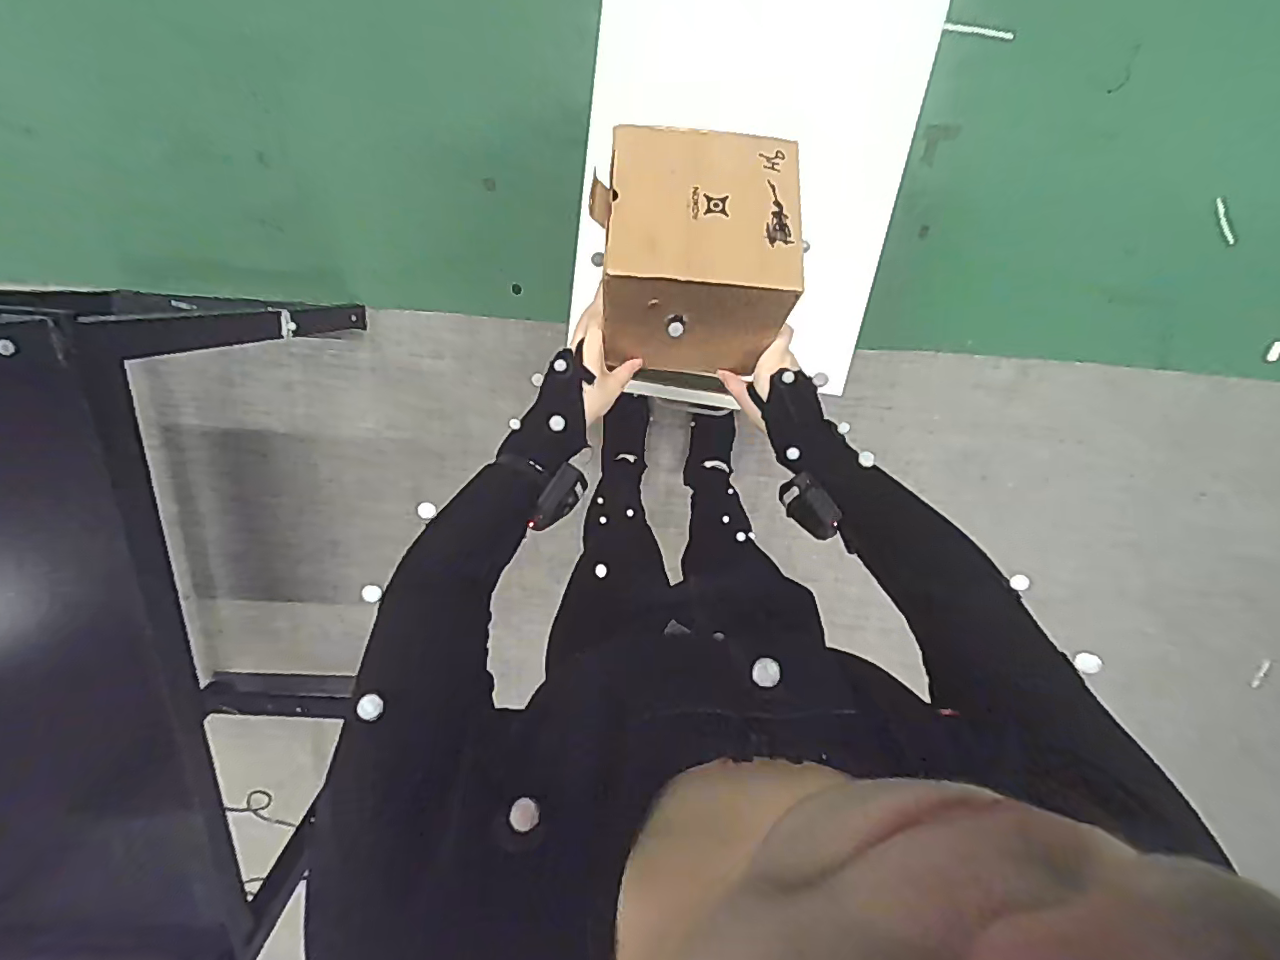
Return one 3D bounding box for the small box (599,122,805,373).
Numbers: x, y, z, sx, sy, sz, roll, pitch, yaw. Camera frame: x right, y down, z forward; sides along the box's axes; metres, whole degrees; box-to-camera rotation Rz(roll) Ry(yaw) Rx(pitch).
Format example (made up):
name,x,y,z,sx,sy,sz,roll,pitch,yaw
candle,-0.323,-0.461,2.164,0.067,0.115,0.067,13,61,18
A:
name,x,y,z,sx,sy,sz,roll,pitch,yaw
small box,0.054,-0.221,0.549,0.179,0.176,0.168,3,75,-2
